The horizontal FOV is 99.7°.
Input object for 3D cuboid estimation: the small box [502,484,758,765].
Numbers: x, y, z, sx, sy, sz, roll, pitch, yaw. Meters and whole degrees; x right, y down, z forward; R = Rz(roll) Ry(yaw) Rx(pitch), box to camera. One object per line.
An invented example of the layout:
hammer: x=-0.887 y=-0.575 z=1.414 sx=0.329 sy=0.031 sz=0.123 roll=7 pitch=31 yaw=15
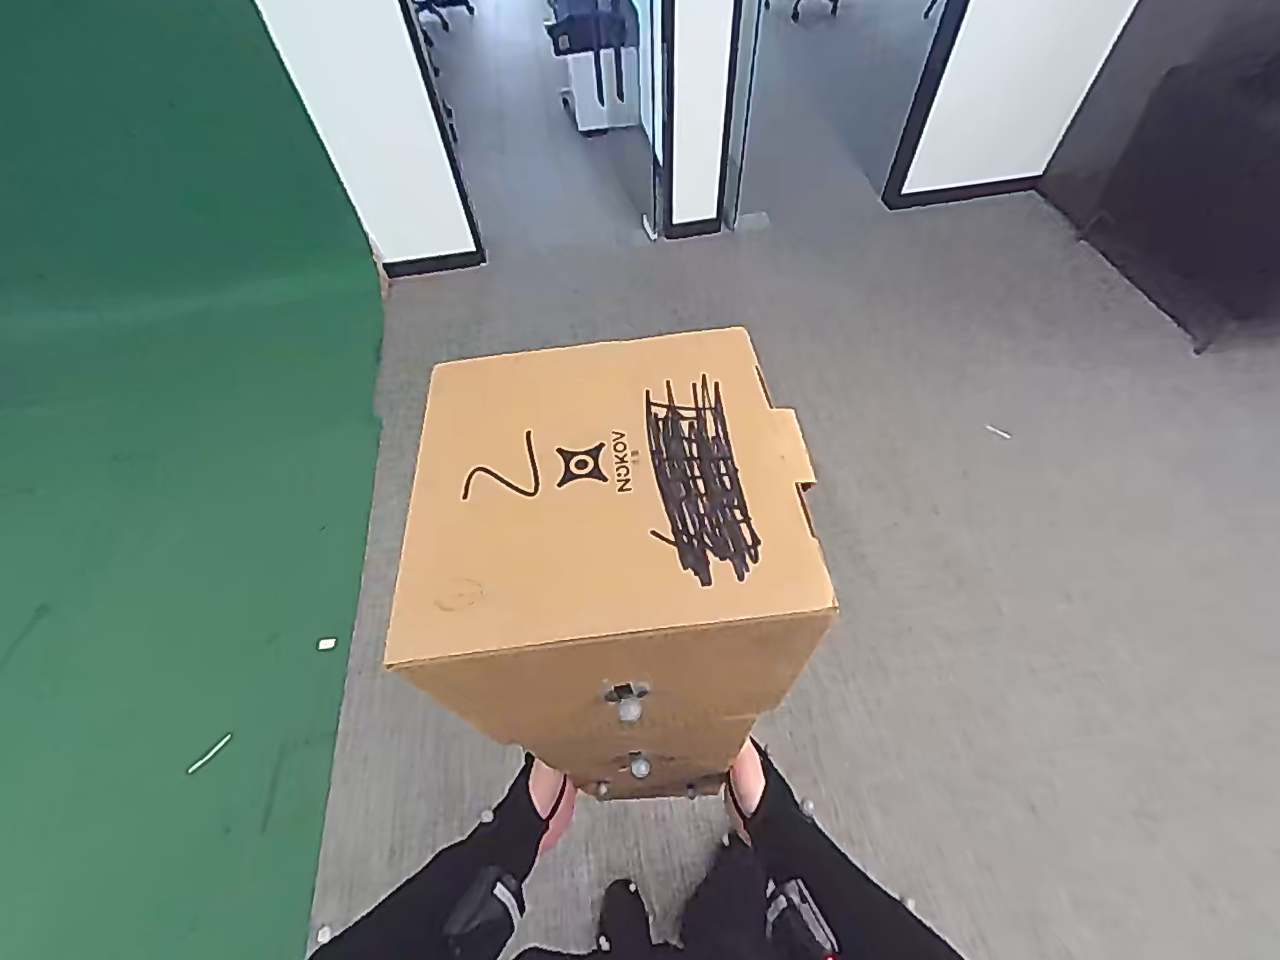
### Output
small box: x=-0.005 y=0.124 z=0.453 sx=0.168 sy=0.176 sz=0.179 roll=-4 pitch=54 yaw=2

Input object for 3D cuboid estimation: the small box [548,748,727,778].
small box: x=0.004 y=0.218 z=0.589 sx=0.168 sy=0.176 sz=0.179 roll=-2 pitch=53 yaw=2

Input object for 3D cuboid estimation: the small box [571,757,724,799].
small box: x=0.011 y=0.318 z=0.718 sx=0.179 sy=0.176 sz=0.168 roll=-3 pitch=54 yaw=1
